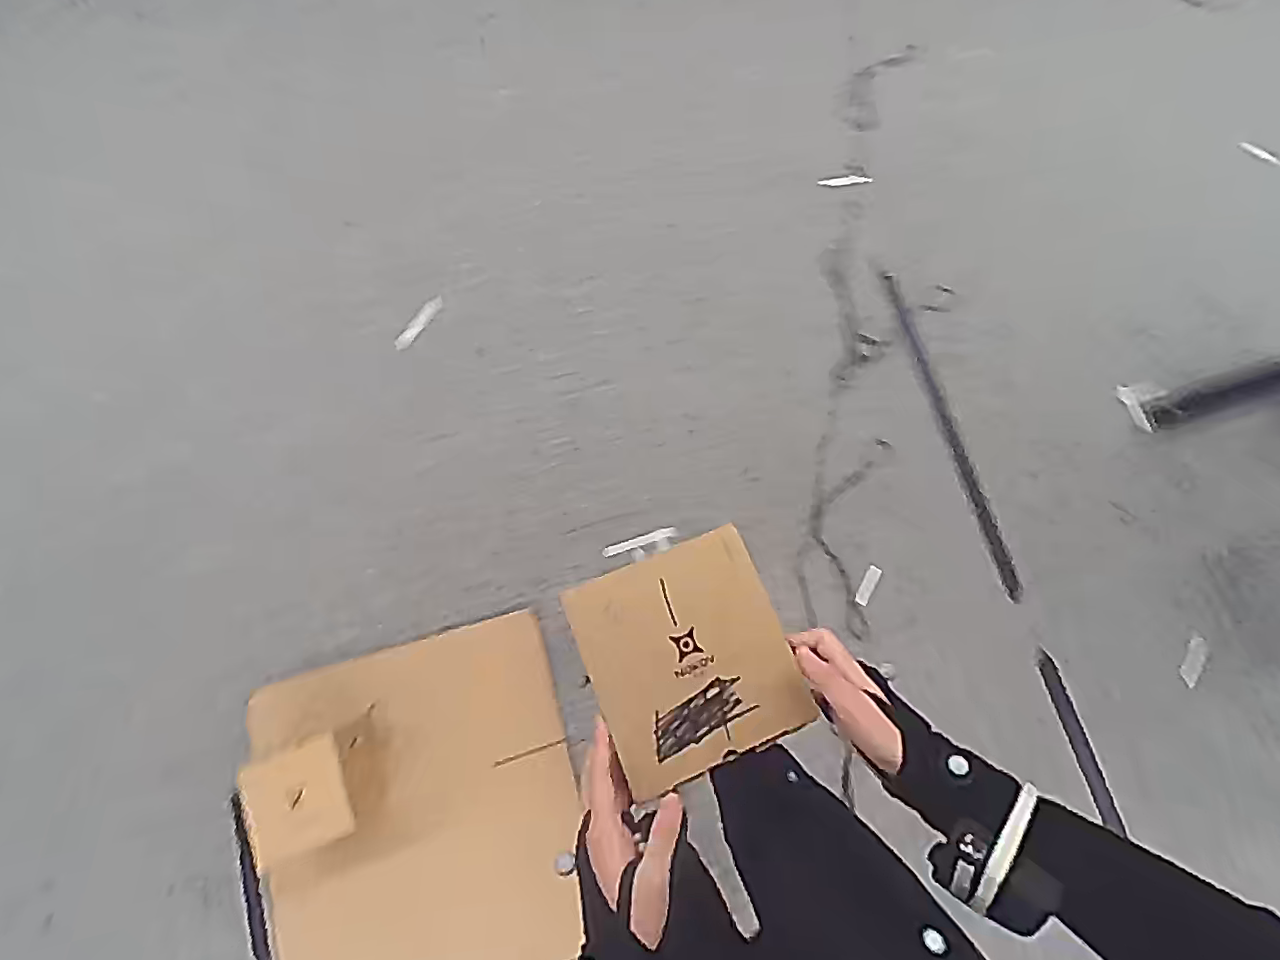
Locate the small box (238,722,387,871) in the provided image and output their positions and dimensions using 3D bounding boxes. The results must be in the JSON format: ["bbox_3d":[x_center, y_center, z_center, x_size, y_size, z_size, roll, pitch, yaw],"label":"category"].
[{"bbox_3d":[-0.611,0.582,1.029,0.168,0.176,0.179,-21,81,-10],"label":"small box"}]
